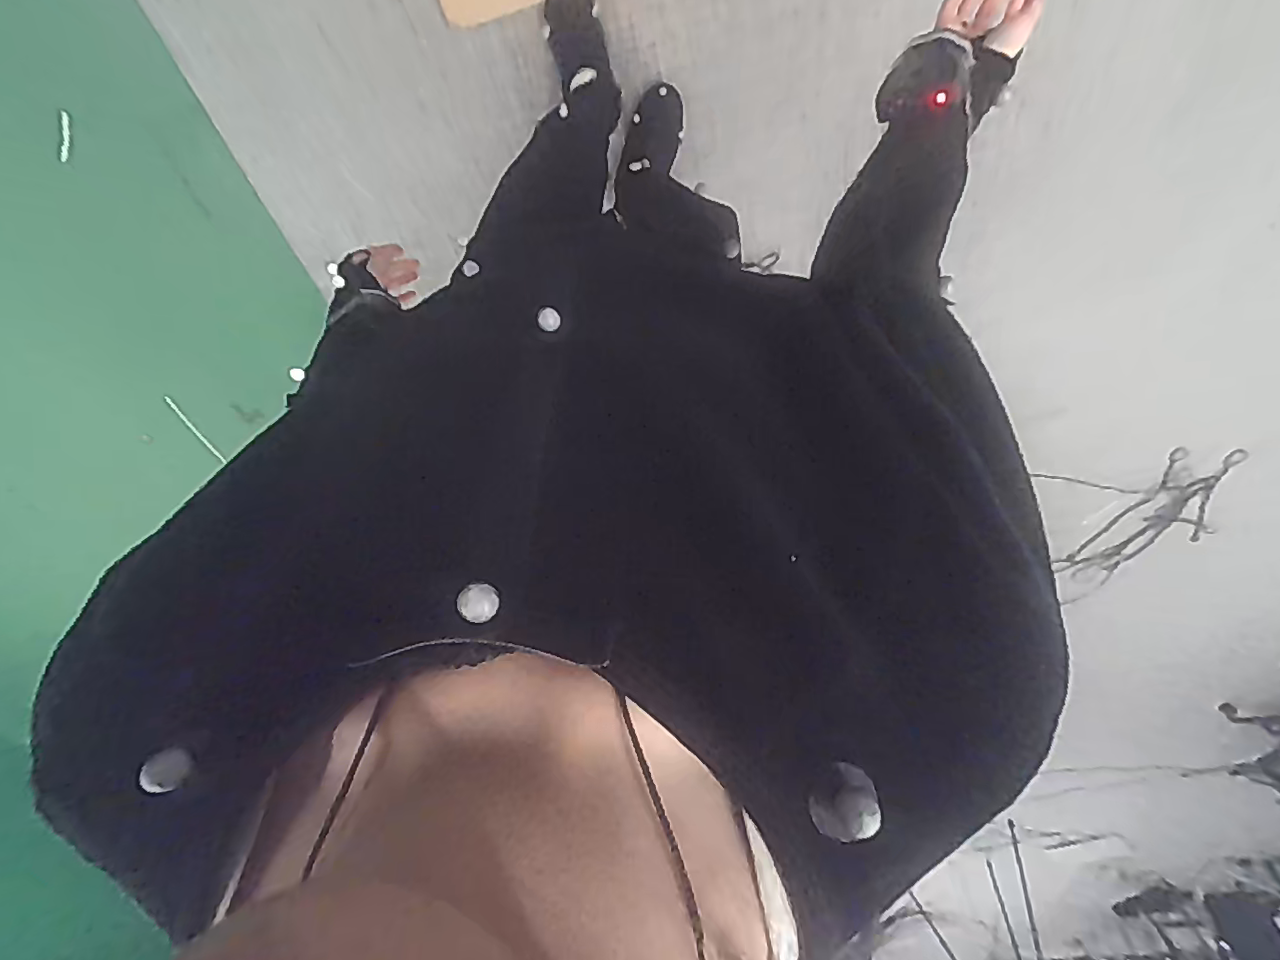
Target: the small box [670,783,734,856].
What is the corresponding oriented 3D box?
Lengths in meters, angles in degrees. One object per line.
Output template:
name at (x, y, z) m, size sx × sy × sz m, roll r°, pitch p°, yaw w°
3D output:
small box at (0.190, 1.060, 1.683) m, size 0.168 × 0.176 × 0.179 m, roll -11°, pitch 132°, yaw 9°
